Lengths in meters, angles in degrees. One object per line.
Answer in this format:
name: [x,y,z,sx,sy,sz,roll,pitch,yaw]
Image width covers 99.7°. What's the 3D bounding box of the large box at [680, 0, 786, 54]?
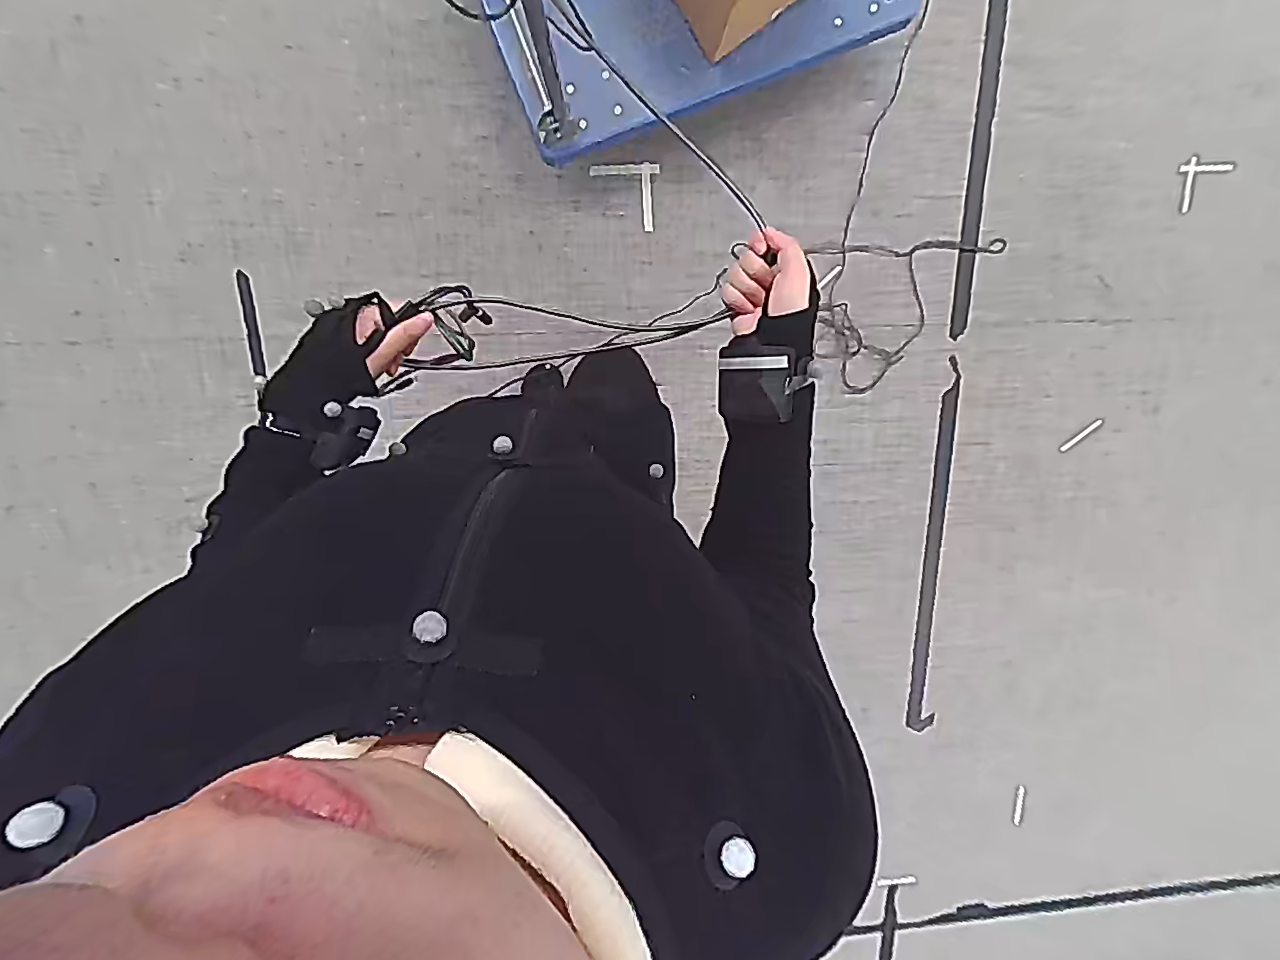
large box: [0.170,-1.087,0.927,0.320,0.320,0.408,-35,104,5]
